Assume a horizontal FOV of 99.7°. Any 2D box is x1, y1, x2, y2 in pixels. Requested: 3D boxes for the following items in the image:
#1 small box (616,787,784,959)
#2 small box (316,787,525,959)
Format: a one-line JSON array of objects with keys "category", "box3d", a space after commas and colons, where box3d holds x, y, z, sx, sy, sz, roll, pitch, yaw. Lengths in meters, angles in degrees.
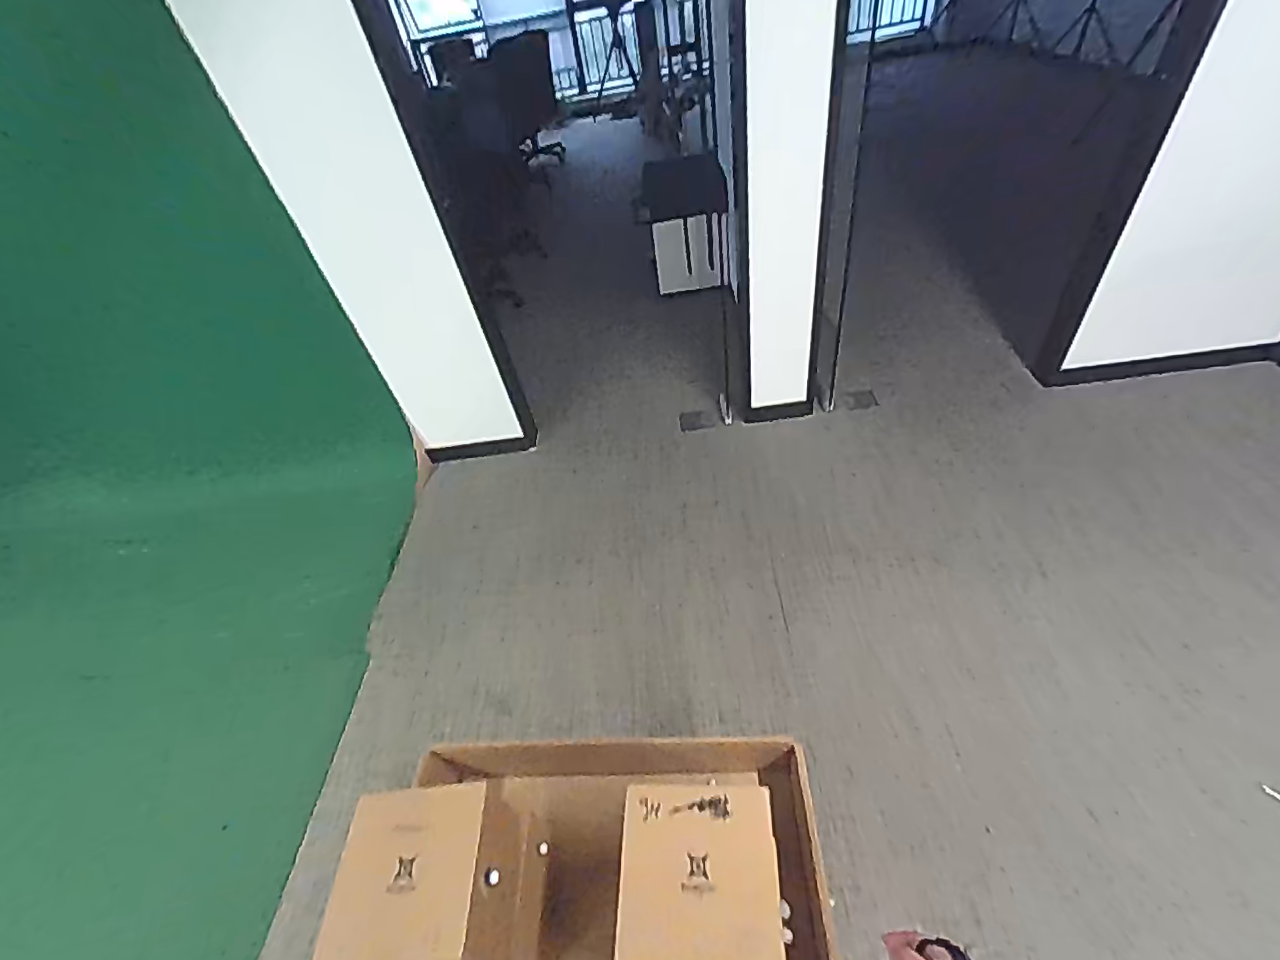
[{"category": "small box", "box3d": [0.073, 0.471, 0.618, 0.168, 0.176, 0.179, -4, 46, 8]}, {"category": "small box", "box3d": [-0.249, 0.501, 0.661, 0.168, 0.176, 0.179, -8, 44, 4]}]
